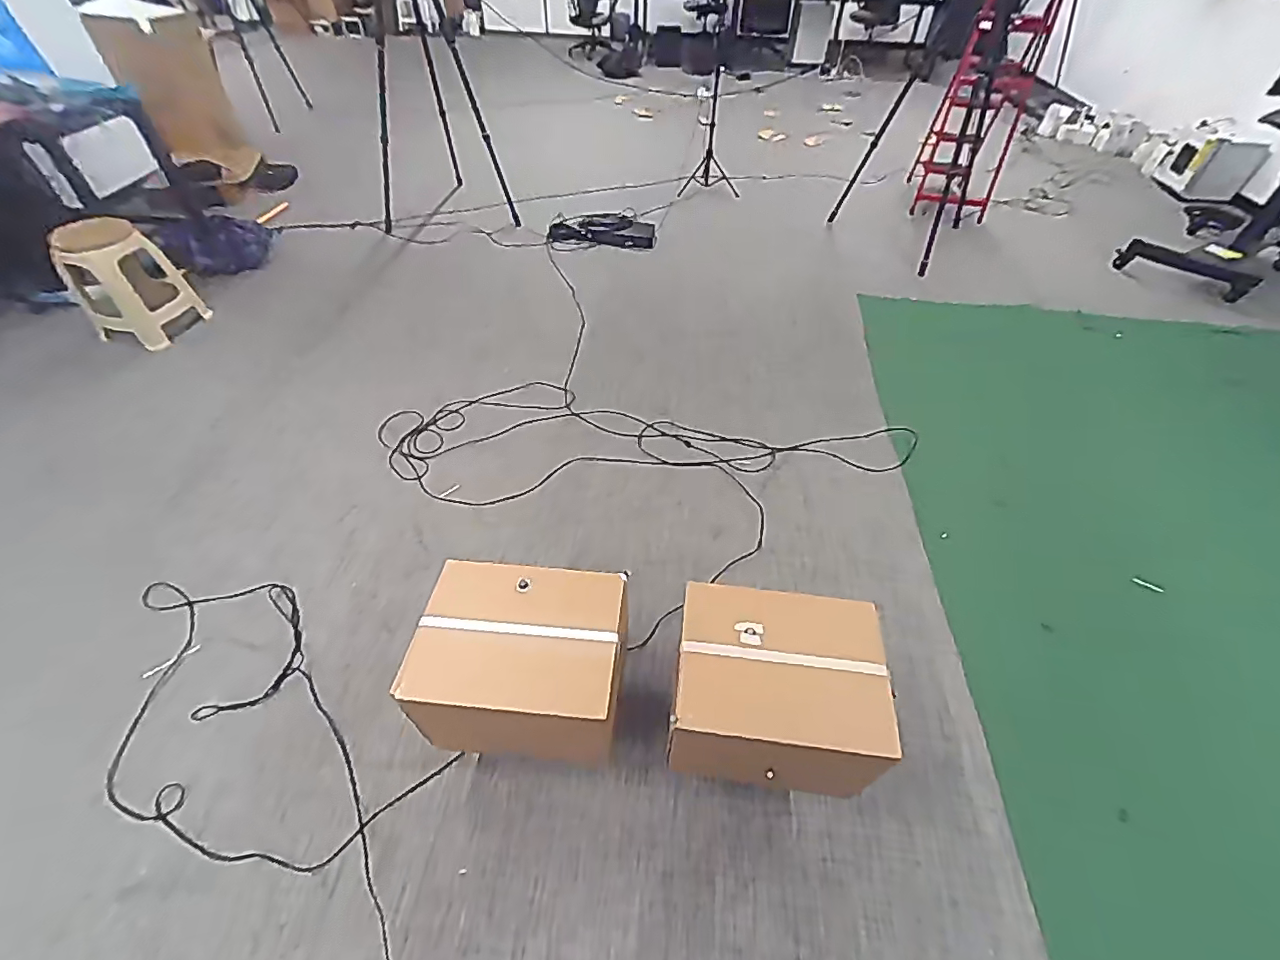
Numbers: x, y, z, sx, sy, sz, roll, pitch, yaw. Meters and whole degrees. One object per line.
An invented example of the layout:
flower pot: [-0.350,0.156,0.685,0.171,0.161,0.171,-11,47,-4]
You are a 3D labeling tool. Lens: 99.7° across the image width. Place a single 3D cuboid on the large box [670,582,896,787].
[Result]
large box: [0.285,0.454,1.193,0.408,0.320,0.320,6,48,5]
